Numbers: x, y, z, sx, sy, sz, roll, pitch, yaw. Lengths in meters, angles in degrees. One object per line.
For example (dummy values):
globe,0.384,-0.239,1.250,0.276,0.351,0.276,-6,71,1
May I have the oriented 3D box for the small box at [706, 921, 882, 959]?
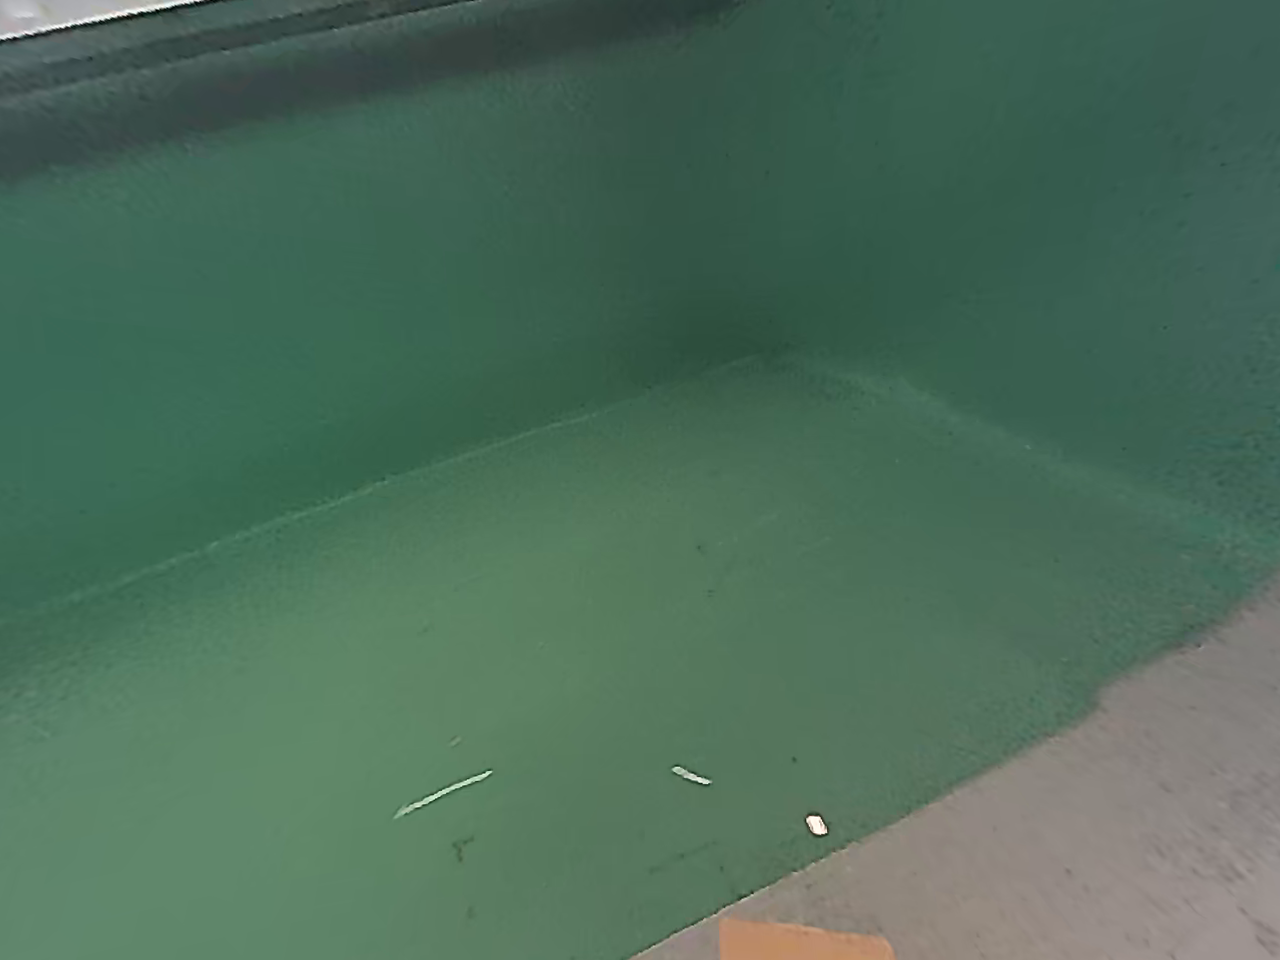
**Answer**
small box,0.138,0.525,0.453,0.168,0.176,0.179,0,-6,7
